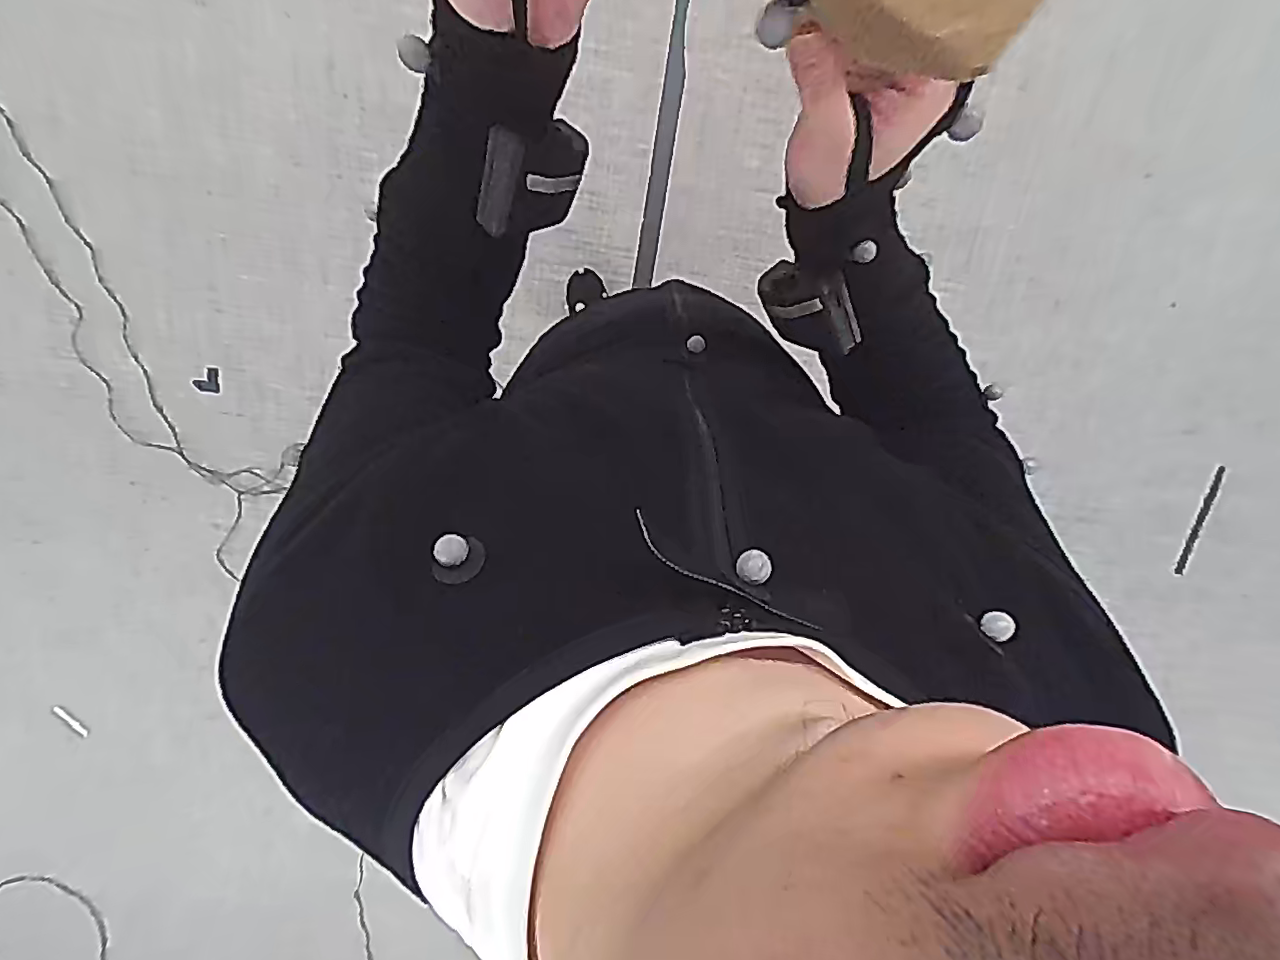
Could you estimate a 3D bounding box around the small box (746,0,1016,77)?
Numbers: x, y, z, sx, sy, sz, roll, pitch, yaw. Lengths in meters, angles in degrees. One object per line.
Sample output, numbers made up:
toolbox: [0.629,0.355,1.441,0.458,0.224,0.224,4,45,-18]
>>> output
small box: [0.045,-0.234,0.126,0.179,0.176,0.168,25,128,-9]
